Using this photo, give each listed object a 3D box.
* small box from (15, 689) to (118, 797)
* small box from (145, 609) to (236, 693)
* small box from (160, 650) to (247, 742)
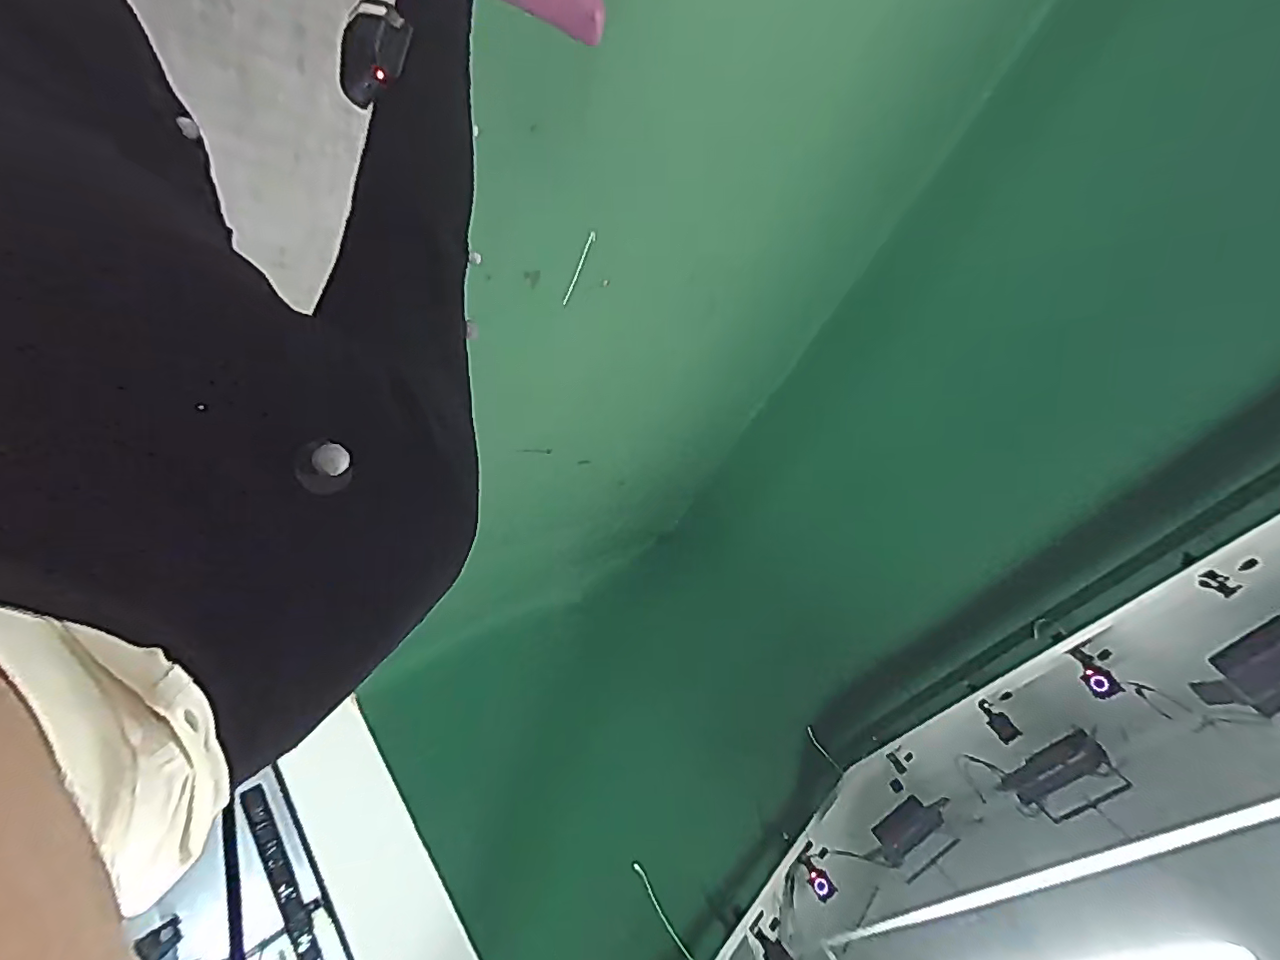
[{"bbox_3d":[-1.493,0.671,1.407,0.168,0.176,0.179,-6,141,-51],"label":"small box"},{"bbox_3d":[-1.413,0.528,1.698,0.179,0.176,0.168,-5,138,-53],"label":"small box"},{"bbox_3d":[-1.320,0.645,1.631,0.168,0.176,0.179,-7,140,-52],"label":"small box"}]
